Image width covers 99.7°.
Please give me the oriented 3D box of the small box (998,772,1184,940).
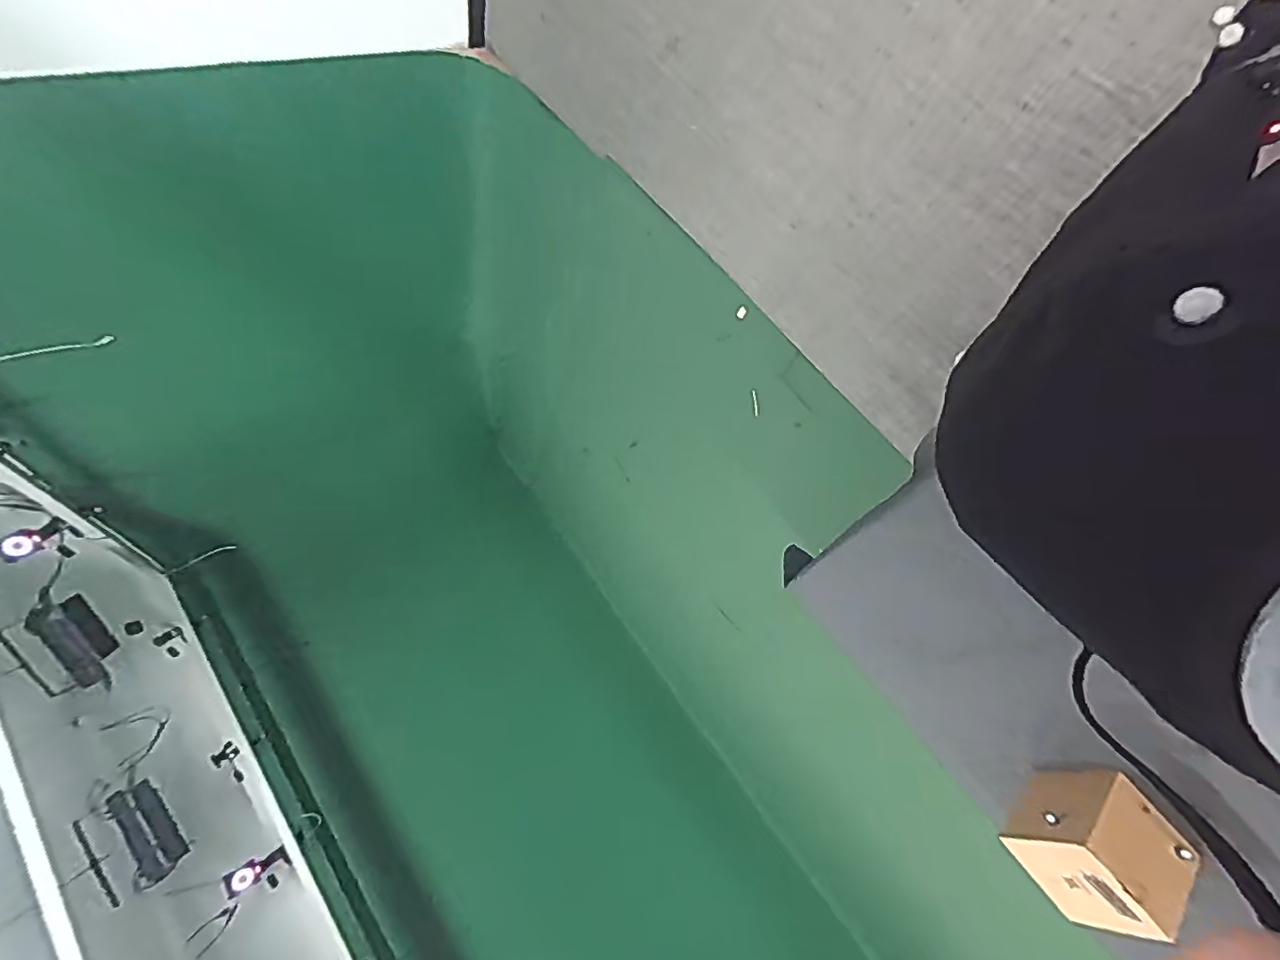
[{"bbox_3d":[0.789,0.638,0.945,0.168,0.176,0.179,51,151,15],"label":"small box"}]
